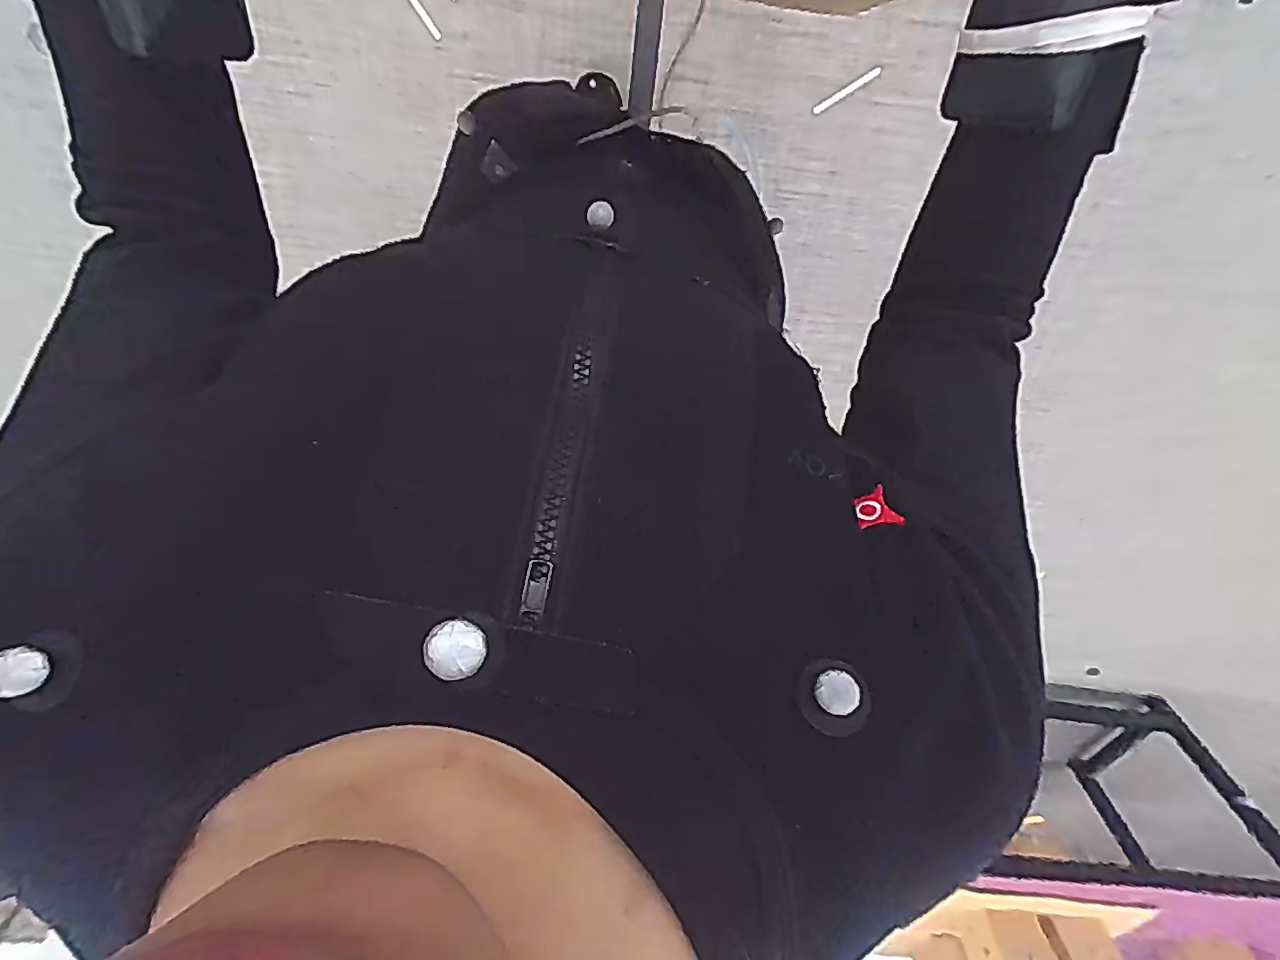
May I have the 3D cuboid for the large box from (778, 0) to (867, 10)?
[{"bbox_3d":[0.006,-0.467,0.258,0.408,0.320,0.320,6,127,-4],"label":"large box"}]
